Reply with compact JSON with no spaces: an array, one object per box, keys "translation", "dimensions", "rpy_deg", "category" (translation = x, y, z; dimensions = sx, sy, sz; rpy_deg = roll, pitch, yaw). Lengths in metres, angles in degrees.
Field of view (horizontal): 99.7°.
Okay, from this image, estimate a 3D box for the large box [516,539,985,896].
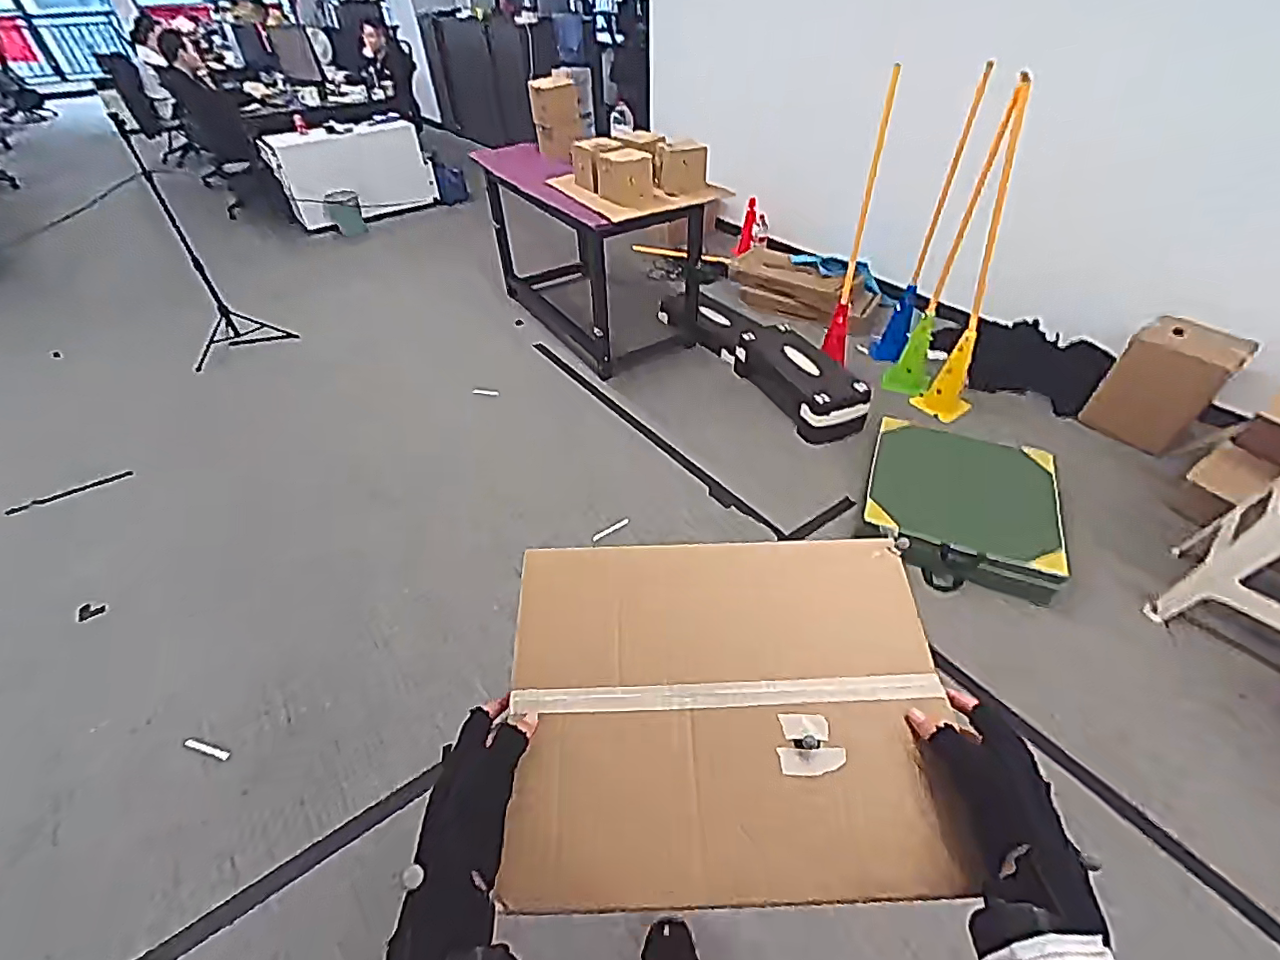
[{"translation":[0.087,0.283,0.652],"dimensions":[0.408,0.320,0.320],"rpy_deg":[-1,58,-1],"category":"large box"}]
